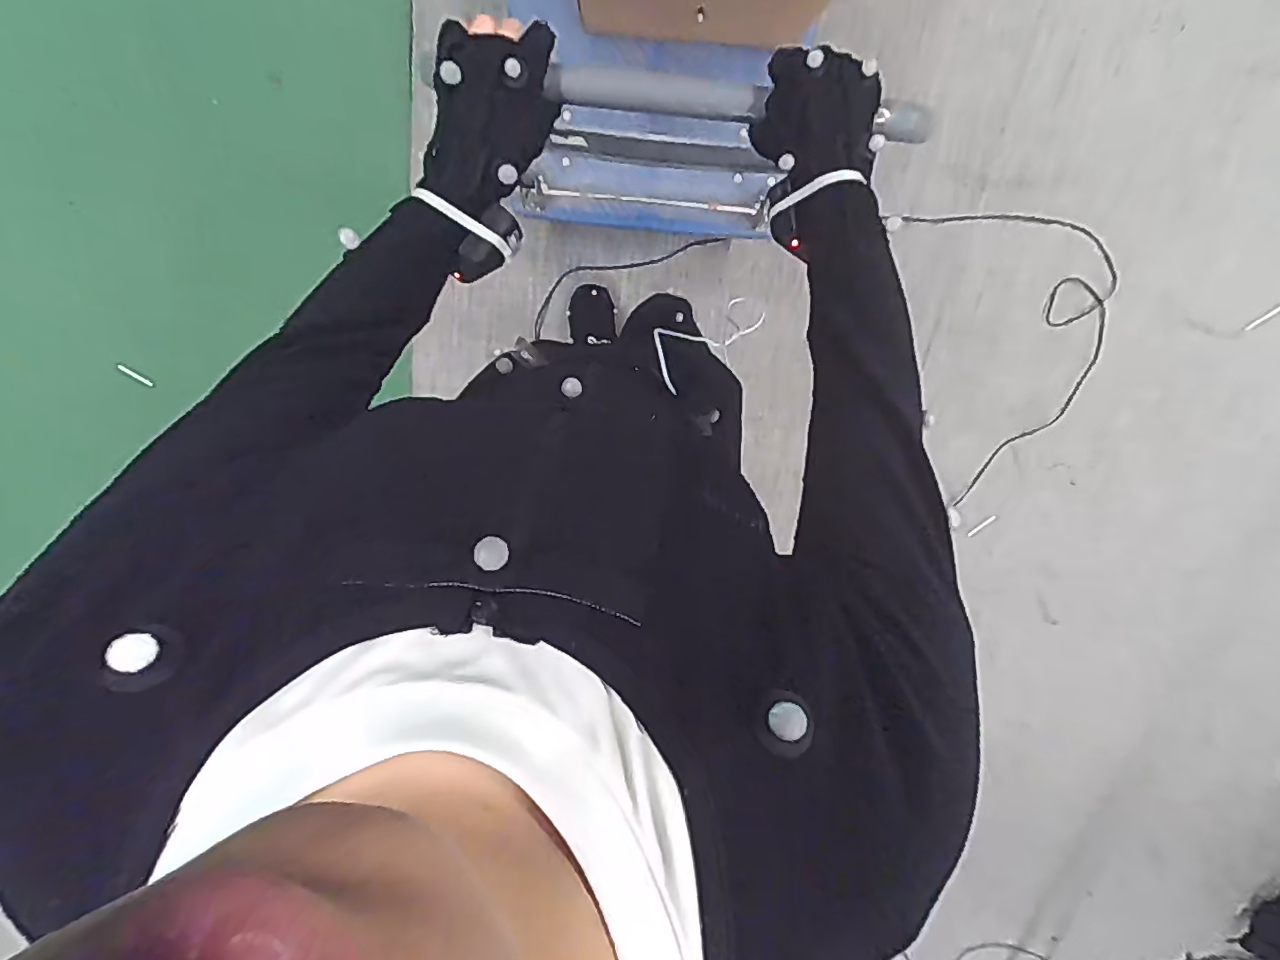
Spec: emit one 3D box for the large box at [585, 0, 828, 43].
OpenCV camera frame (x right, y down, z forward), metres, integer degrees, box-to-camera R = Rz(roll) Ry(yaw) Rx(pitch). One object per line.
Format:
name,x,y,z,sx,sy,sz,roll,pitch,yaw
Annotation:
large box,0.112,-0.927,0.838,0.408,0.320,0.320,3,110,-1
